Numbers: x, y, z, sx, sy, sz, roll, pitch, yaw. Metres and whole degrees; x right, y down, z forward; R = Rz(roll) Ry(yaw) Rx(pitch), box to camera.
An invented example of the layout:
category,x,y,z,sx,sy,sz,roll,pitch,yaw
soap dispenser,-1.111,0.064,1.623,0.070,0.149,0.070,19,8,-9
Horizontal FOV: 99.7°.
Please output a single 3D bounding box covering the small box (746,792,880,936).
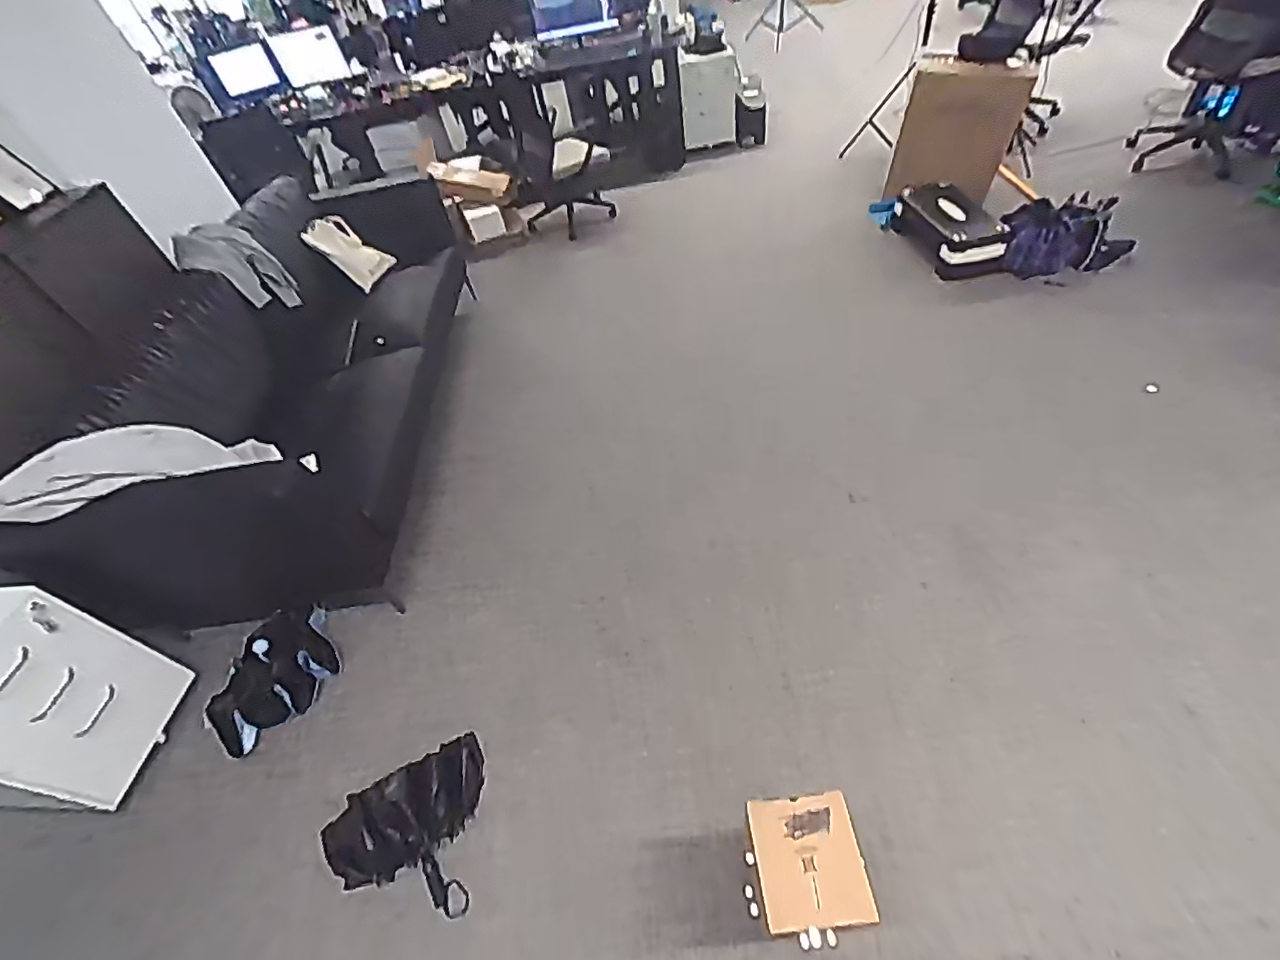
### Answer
category,x,y,z,sx,sy,sz,roll,pitch,yaw
small box,0.277,0.649,0.912,0.168,0.176,0.179,-10,51,3
